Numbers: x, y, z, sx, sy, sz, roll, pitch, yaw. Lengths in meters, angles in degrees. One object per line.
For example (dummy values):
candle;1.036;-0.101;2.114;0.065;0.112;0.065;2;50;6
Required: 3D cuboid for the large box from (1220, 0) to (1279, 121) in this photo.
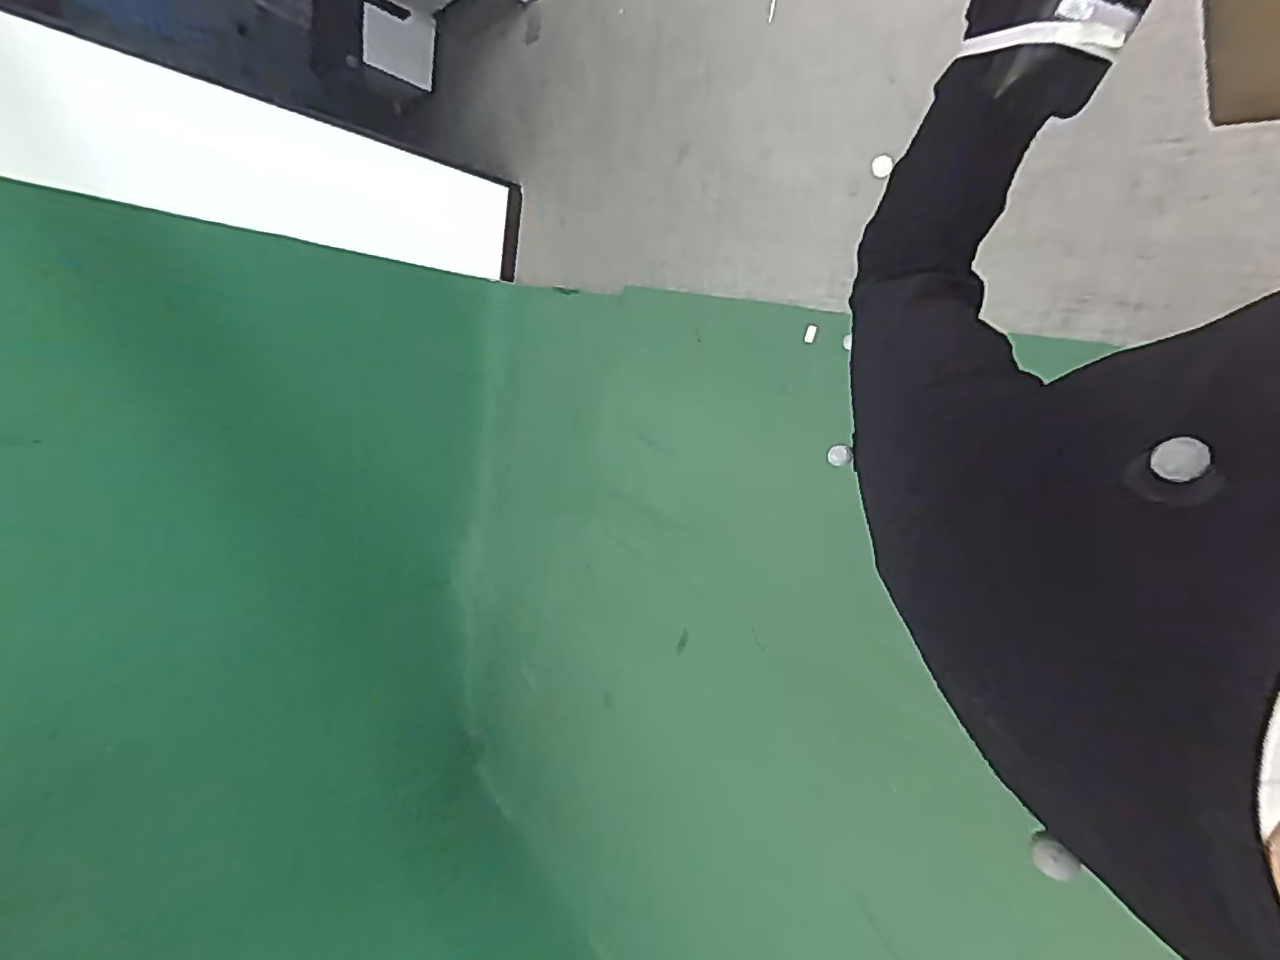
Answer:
large box;0.560;-0.394;0.210;0.408;0.320;0.320;22;114;43
